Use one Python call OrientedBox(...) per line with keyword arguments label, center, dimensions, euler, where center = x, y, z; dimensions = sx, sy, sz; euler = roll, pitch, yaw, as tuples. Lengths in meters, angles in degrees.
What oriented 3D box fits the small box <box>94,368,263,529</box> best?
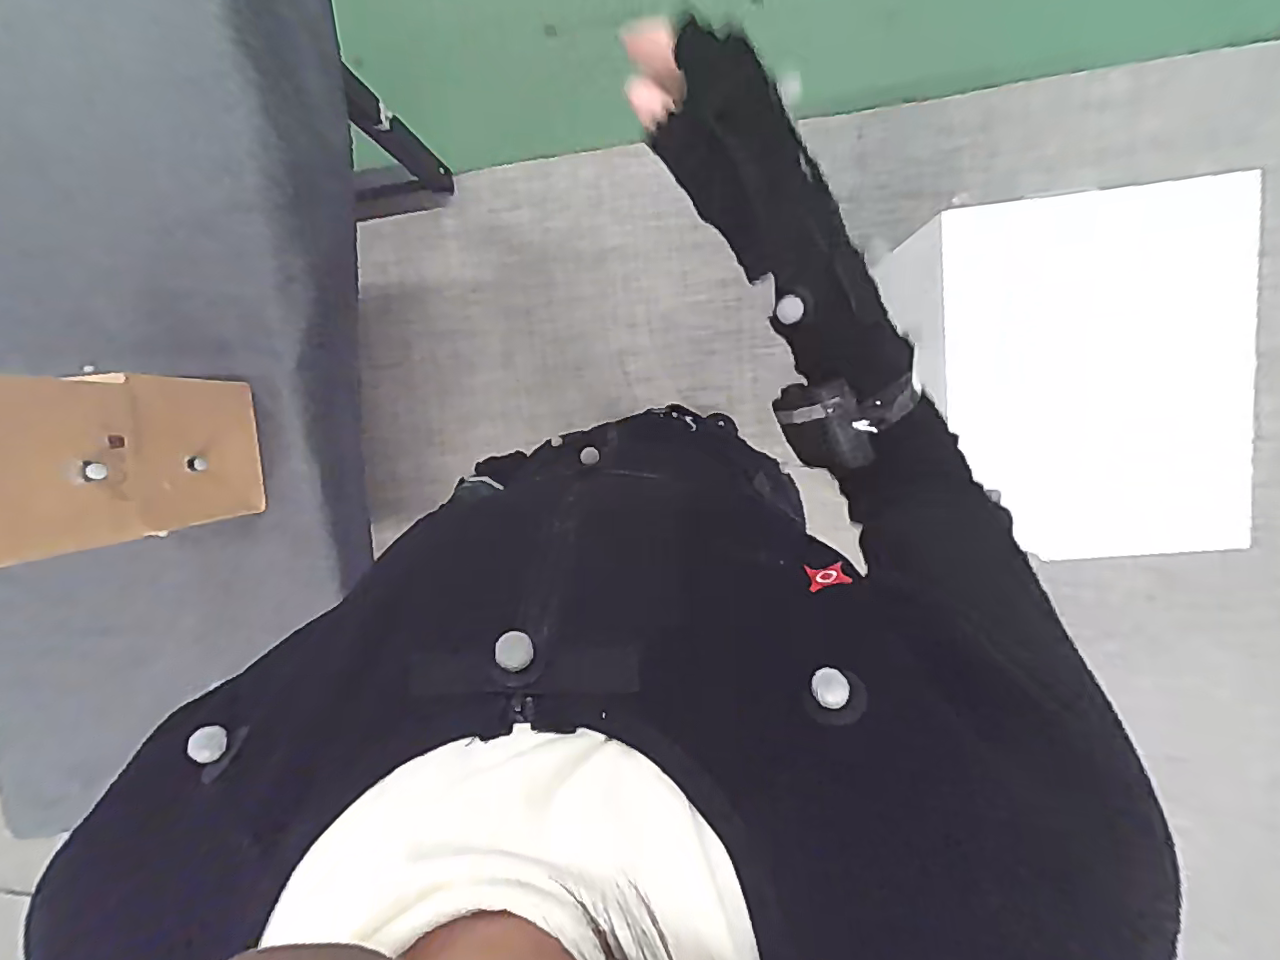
OrientedBox(label="small box", center=(-0.609, -0.043, 0.670), dimensions=(0.168, 0.176, 0.179), euler=(-2, 98, 7))
